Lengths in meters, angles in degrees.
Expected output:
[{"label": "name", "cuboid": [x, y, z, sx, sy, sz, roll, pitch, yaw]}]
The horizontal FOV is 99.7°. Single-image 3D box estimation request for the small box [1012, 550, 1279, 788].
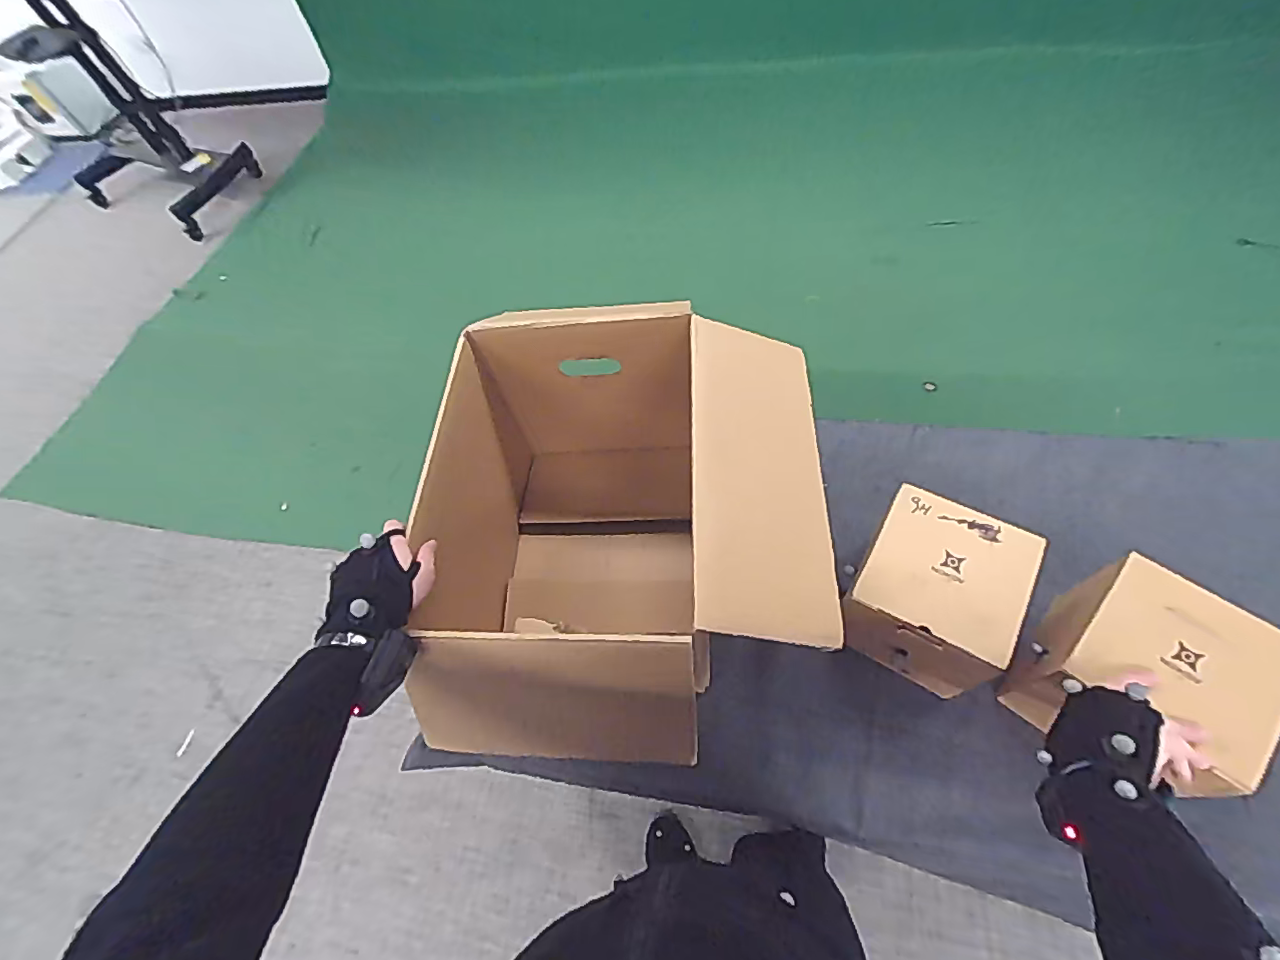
[{"label": "small box", "cuboid": [0.565, 0.219, 0.612, 0.168, 0.176, 0.179, 36, 70, 25]}]
